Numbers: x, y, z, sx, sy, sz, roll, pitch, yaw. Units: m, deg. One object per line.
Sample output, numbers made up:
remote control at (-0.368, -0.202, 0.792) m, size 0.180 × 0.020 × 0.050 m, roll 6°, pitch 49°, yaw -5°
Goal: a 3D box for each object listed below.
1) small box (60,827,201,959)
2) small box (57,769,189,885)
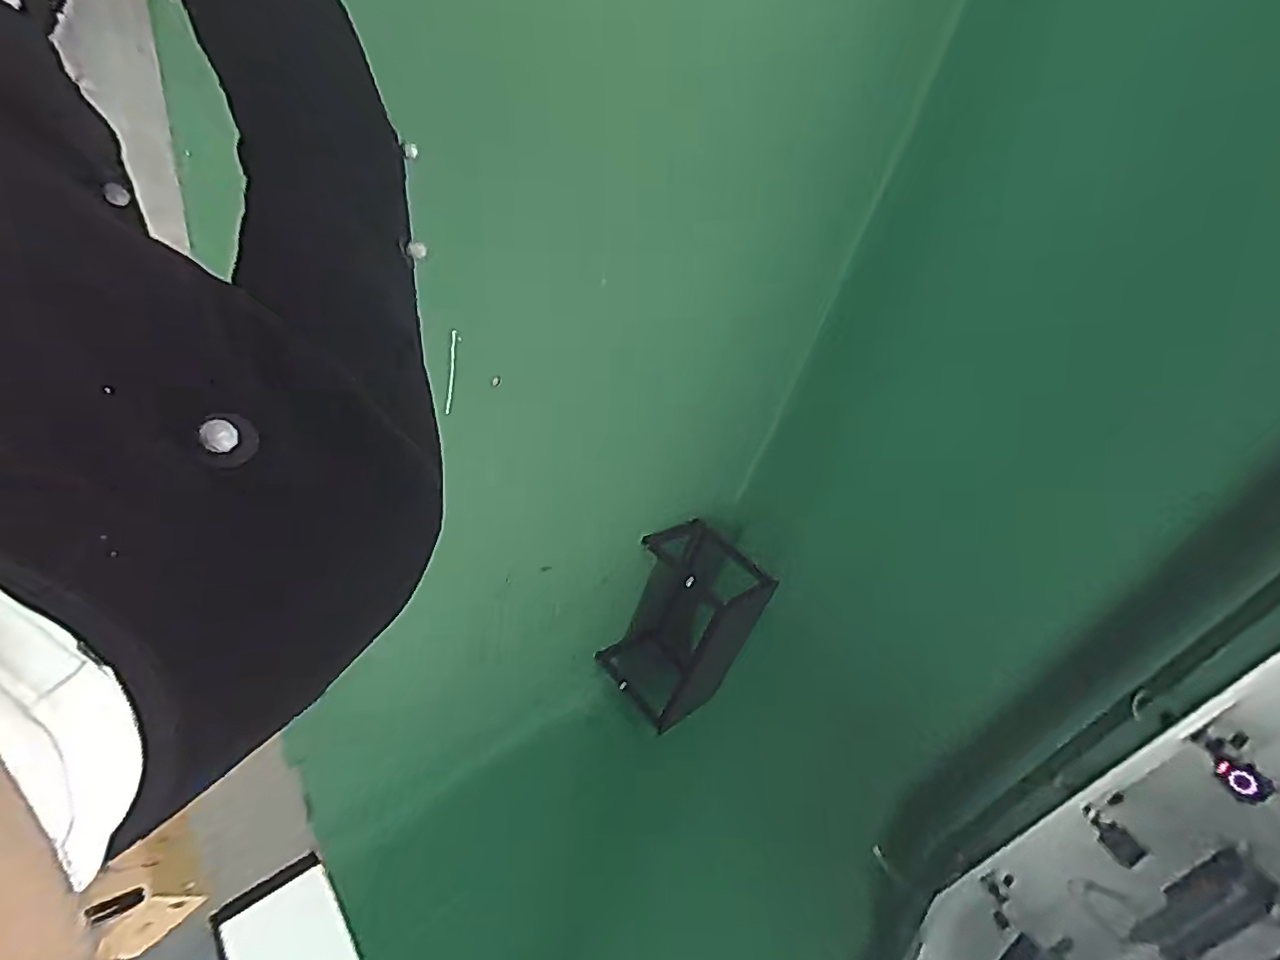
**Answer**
small box at (-1.185, 0.957, 1.262) m, size 0.179 × 0.176 × 0.168 m, roll -37°, pitch 147°, yaw -19°
small box at (-1.290, 0.867, 1.350) m, size 0.179 × 0.176 × 0.168 m, roll -38°, pitch 147°, yaw -19°
